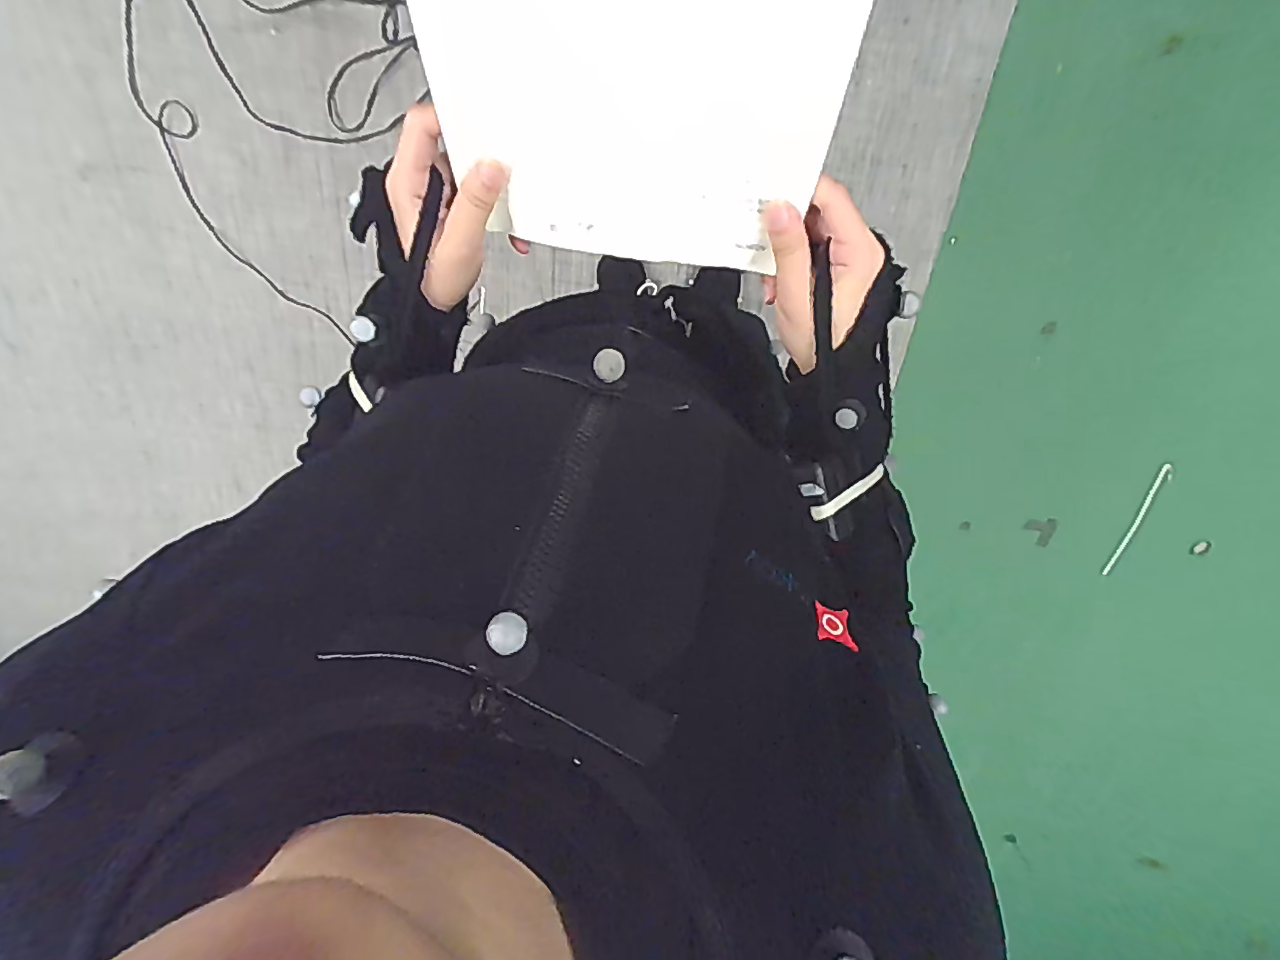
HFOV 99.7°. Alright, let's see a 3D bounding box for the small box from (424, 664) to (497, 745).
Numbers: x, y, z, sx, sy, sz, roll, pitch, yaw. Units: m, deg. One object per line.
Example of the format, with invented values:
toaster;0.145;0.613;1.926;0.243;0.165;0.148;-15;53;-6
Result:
small box;-0.565;0.715;1.732;0.179;0.176;0.168;6;115;5
